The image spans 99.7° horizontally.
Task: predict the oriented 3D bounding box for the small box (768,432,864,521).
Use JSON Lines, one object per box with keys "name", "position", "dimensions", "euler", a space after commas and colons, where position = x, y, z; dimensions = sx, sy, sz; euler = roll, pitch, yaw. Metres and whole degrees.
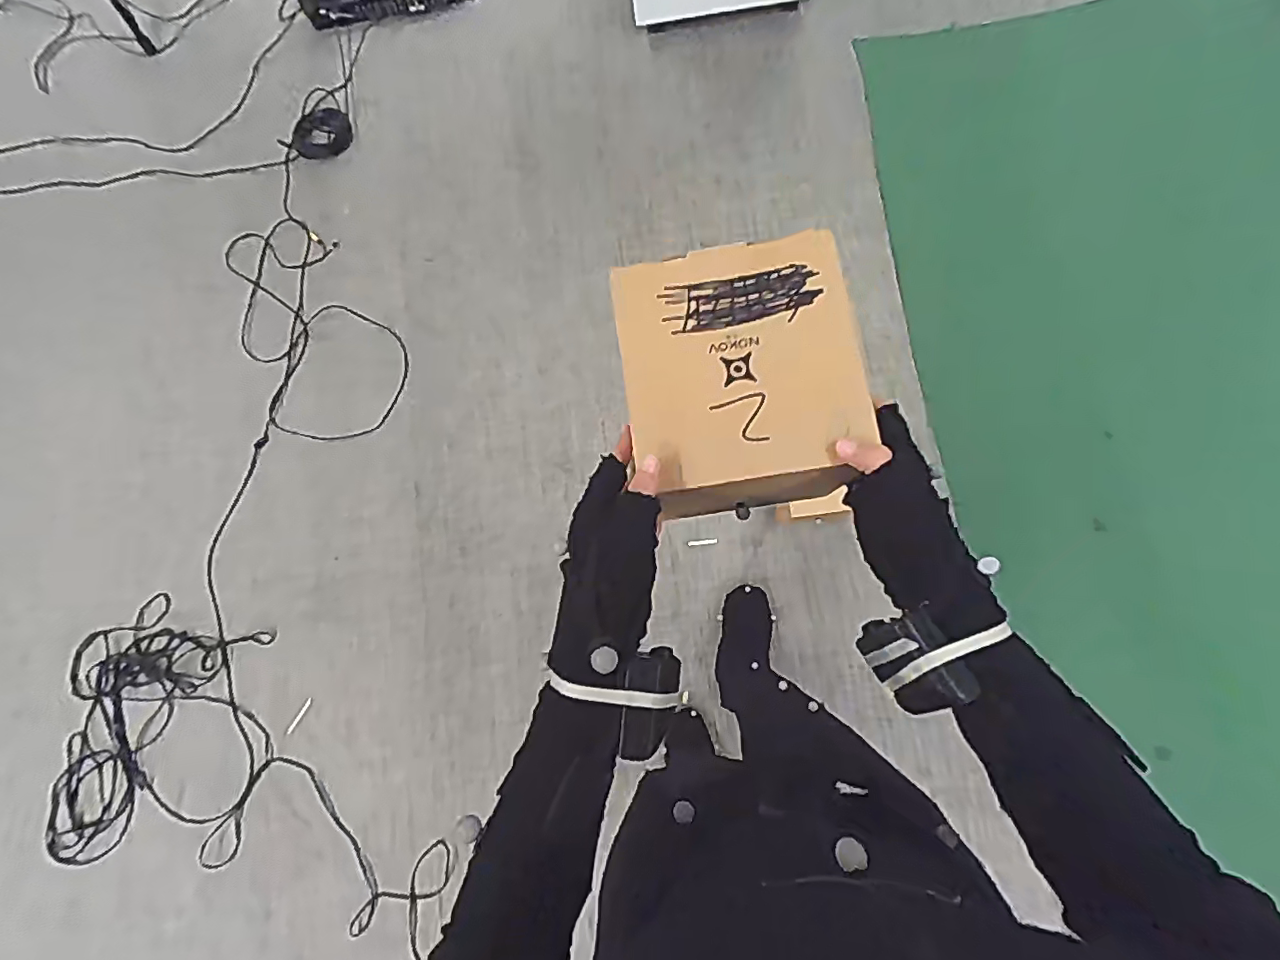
{"name": "small box", "position": [0.403, 0.000, 1.264], "dimensions": [0.168, 0.176, 0.179], "euler": [-8, 79, 3]}
